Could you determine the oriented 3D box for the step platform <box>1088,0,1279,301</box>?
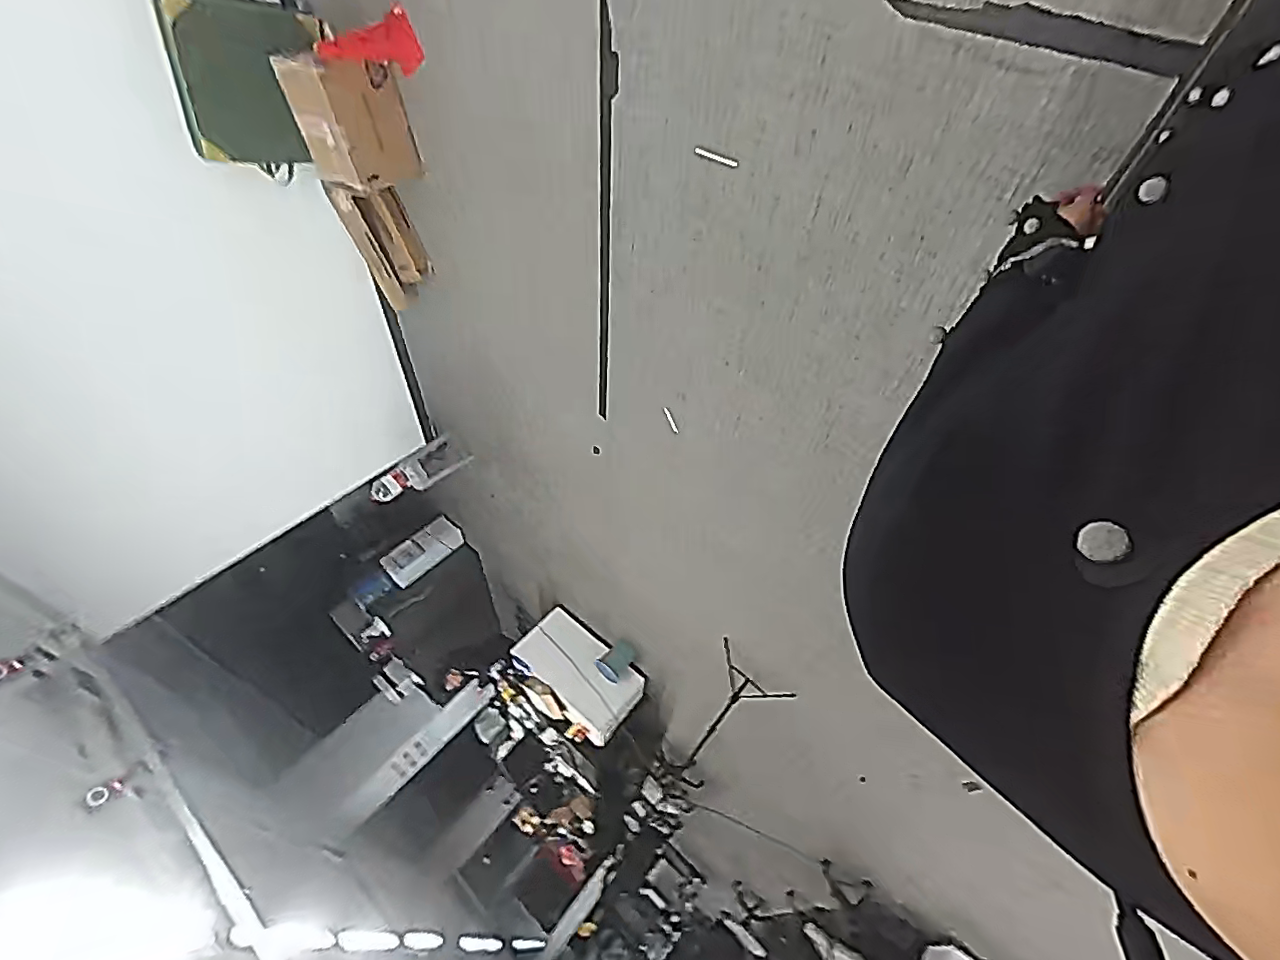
[{"bbox_3d":[1.048,-0.623,0.797,0.286,0.204,0.684,38,144,19],"label":"step platform"}]
